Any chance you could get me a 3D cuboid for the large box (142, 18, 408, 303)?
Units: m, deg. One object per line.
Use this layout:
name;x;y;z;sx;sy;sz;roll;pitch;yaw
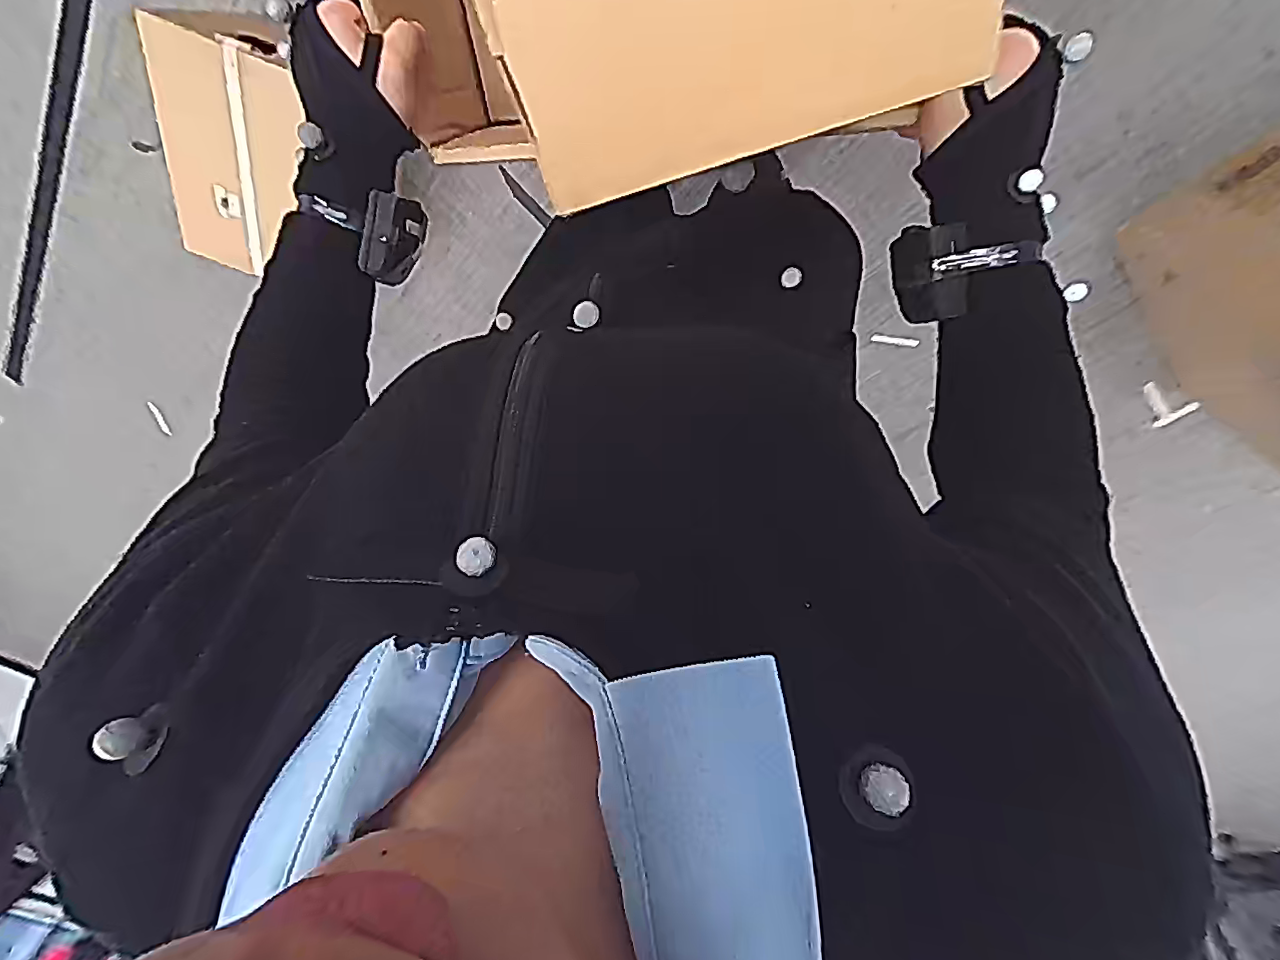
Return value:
large box;-0.701;-0.659;1.125;0.320;0.320;0.408;19;130;-6
